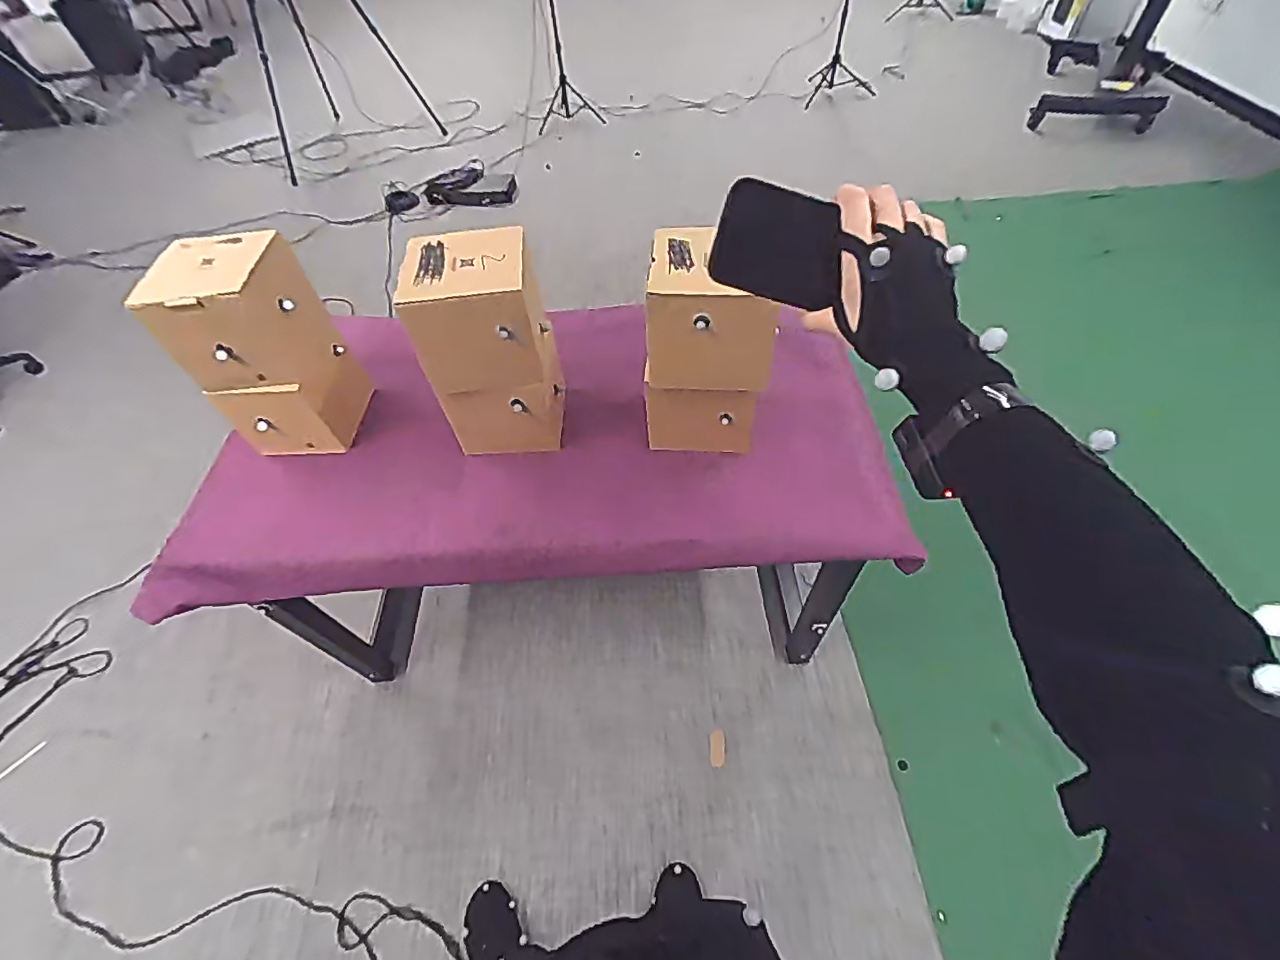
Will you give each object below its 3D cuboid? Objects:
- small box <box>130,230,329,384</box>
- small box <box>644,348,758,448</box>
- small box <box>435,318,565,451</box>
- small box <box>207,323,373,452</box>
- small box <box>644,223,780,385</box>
[{"bbox_3d":[-0.634,-0.268,0.867,0.168,0.176,0.179,-6,54,0],"label":"small box"},{"bbox_3d":[0.107,-0.168,0.936,0.179,0.176,0.168,2,53,7],"label":"small box"},{"bbox_3d":[-0.234,-0.165,0.960,0.179,0.176,0.168,-3,53,3],"label":"small box"},{"bbox_3d":[-0.623,-0.163,0.993,0.168,0.176,0.179,-2,53,3],"label":"small box"},{"bbox_3d":[0.104,-0.255,0.796,0.179,0.176,0.168,2,53,6],"label":"small box"}]
